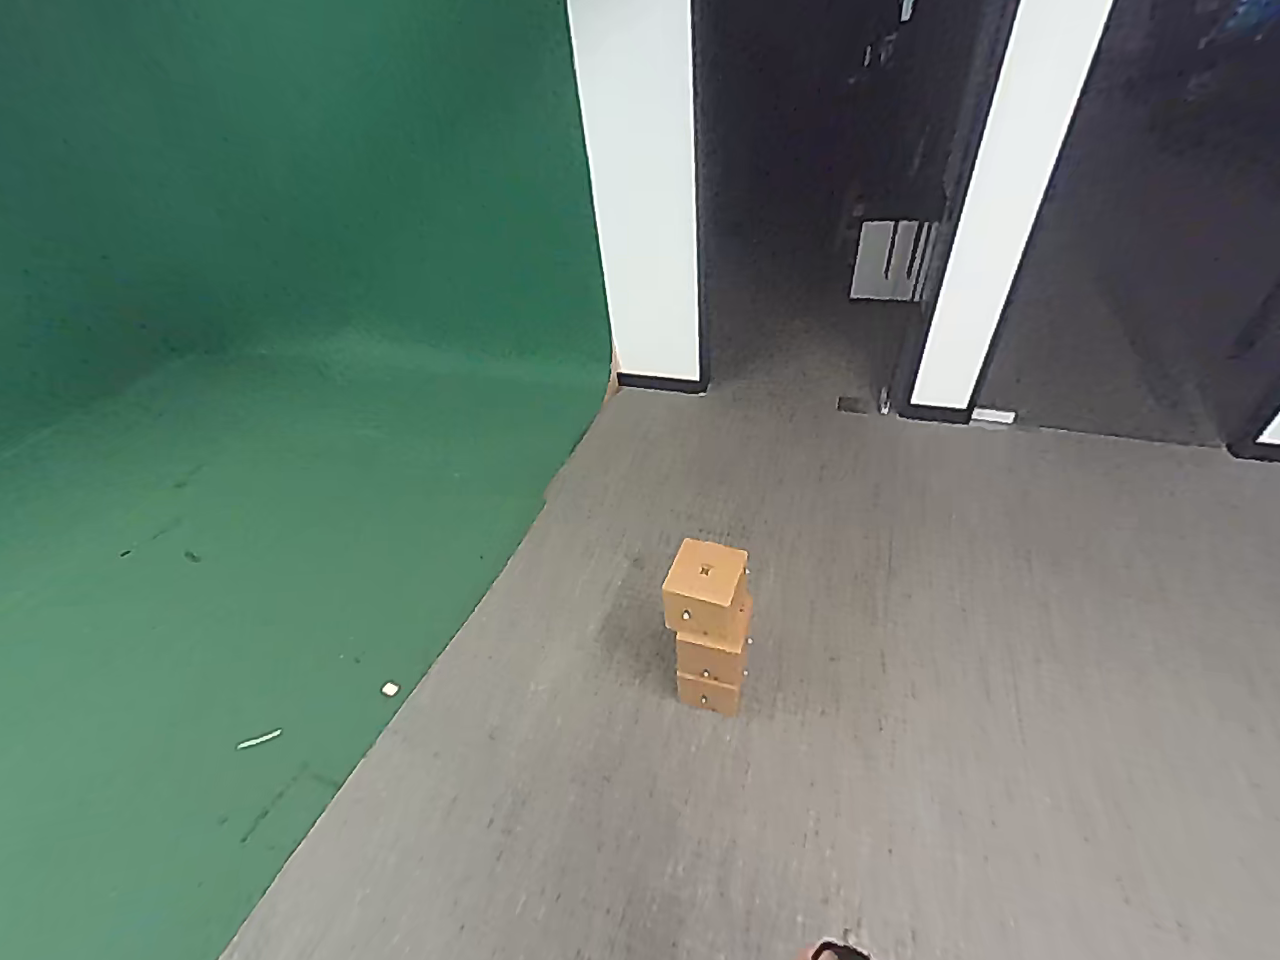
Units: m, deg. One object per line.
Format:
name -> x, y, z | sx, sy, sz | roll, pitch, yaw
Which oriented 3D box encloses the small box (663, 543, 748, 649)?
small box -> 0.170, 0.291, 1.347 | 0.168, 0.176, 0.179 | 11, 43, 21
